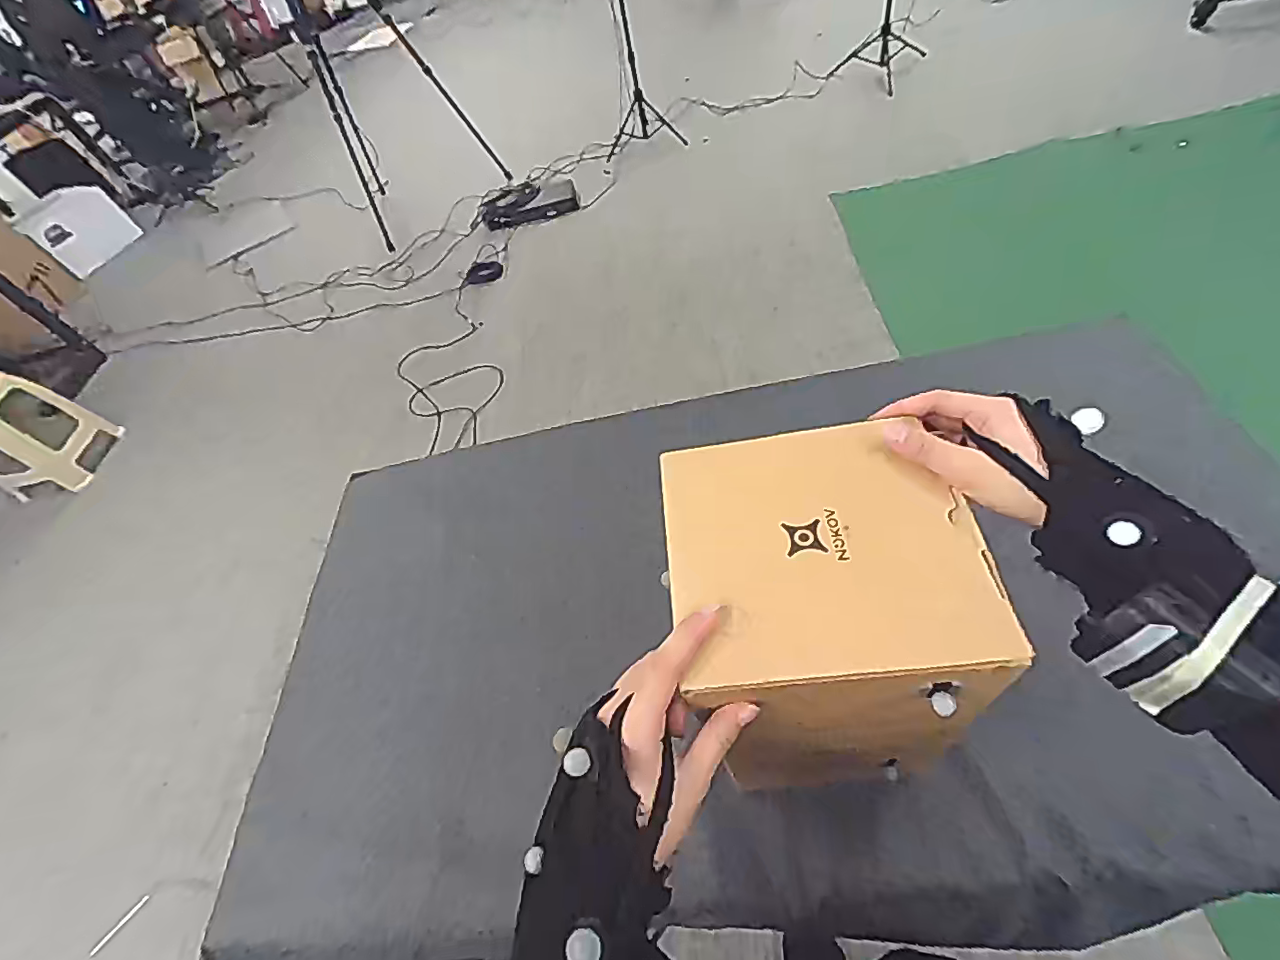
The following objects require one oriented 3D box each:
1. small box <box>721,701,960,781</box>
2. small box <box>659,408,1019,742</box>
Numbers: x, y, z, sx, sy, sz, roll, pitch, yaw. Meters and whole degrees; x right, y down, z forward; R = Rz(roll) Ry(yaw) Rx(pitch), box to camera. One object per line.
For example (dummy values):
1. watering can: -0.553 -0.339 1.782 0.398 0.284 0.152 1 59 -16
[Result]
1. small box: 0.160 0.173 0.509 0.179 0.176 0.168 -11 51 8
2. small box: 0.117 0.077 0.385 0.179 0.176 0.168 -9 52 8
